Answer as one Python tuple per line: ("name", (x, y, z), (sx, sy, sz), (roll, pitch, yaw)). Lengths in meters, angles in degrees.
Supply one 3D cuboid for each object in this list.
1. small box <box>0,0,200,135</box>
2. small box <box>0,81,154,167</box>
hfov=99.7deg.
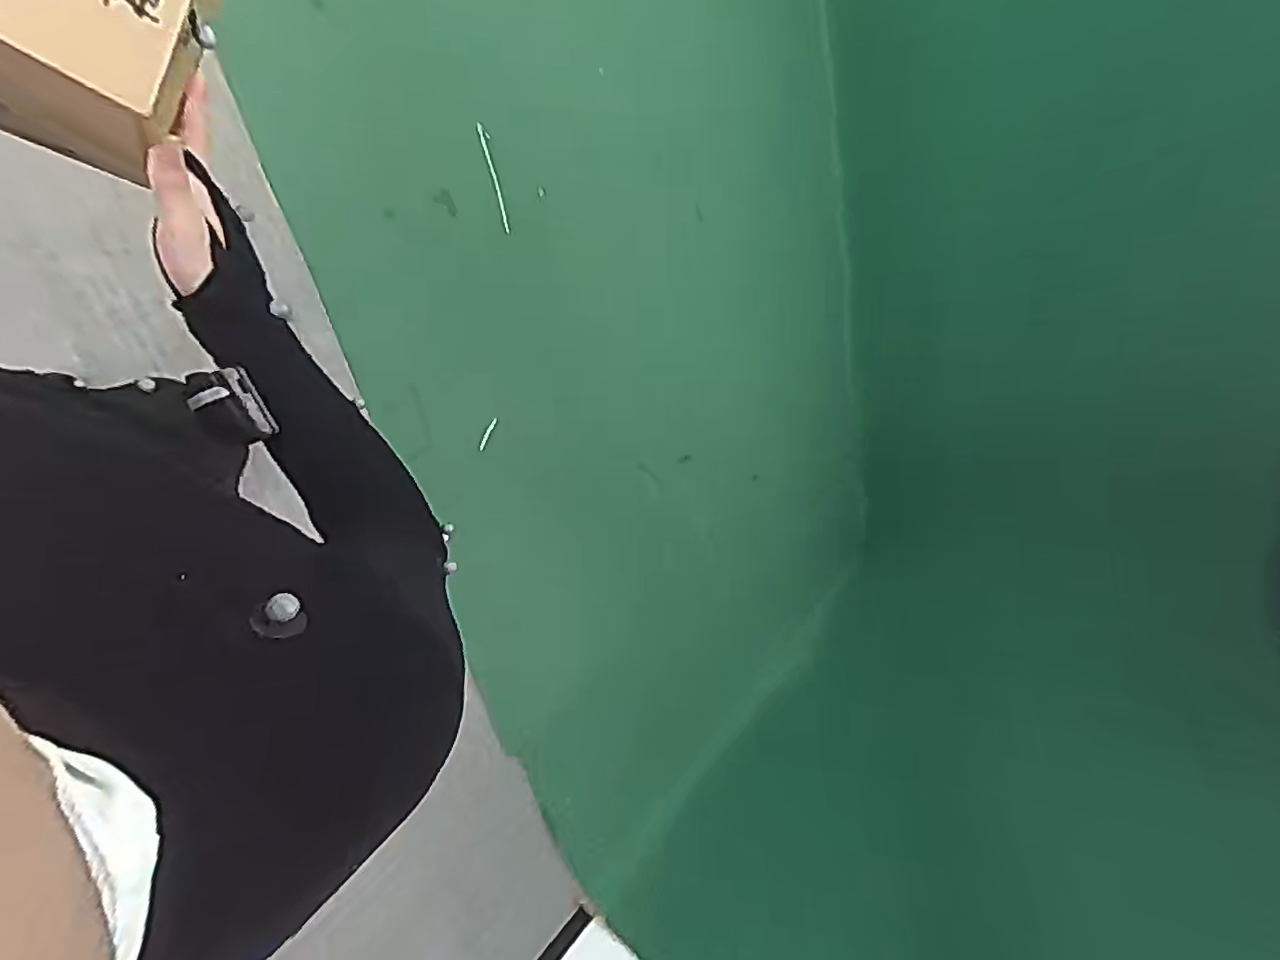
("small box", (-0.359, -0.327, 0.289), (0.179, 0.176, 0.168), (19, 91, -42))
("small box", (-0.470, -0.373, 0.406), (0.168, 0.176, 0.179), (12, 93, -42))
